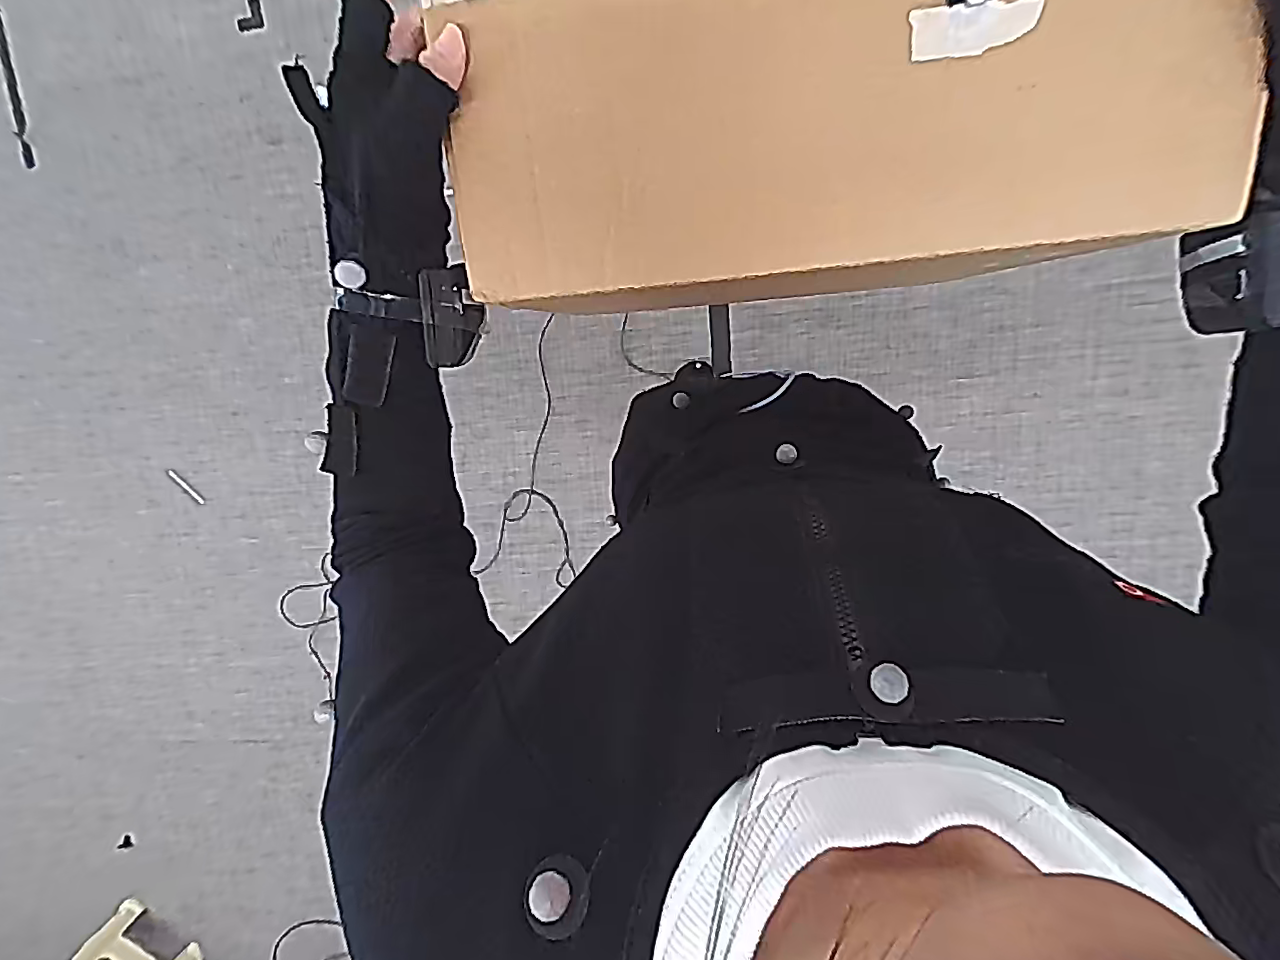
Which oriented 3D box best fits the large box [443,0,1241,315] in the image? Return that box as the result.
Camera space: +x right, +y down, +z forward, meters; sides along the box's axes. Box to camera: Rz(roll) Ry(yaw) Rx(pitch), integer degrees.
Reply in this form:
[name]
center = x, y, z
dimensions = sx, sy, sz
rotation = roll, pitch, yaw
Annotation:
[large box]
center = 0.099, -0.313, 0.413
dimensions = 0.408, 0.320, 0.320
rotation = -4, 106, 6
